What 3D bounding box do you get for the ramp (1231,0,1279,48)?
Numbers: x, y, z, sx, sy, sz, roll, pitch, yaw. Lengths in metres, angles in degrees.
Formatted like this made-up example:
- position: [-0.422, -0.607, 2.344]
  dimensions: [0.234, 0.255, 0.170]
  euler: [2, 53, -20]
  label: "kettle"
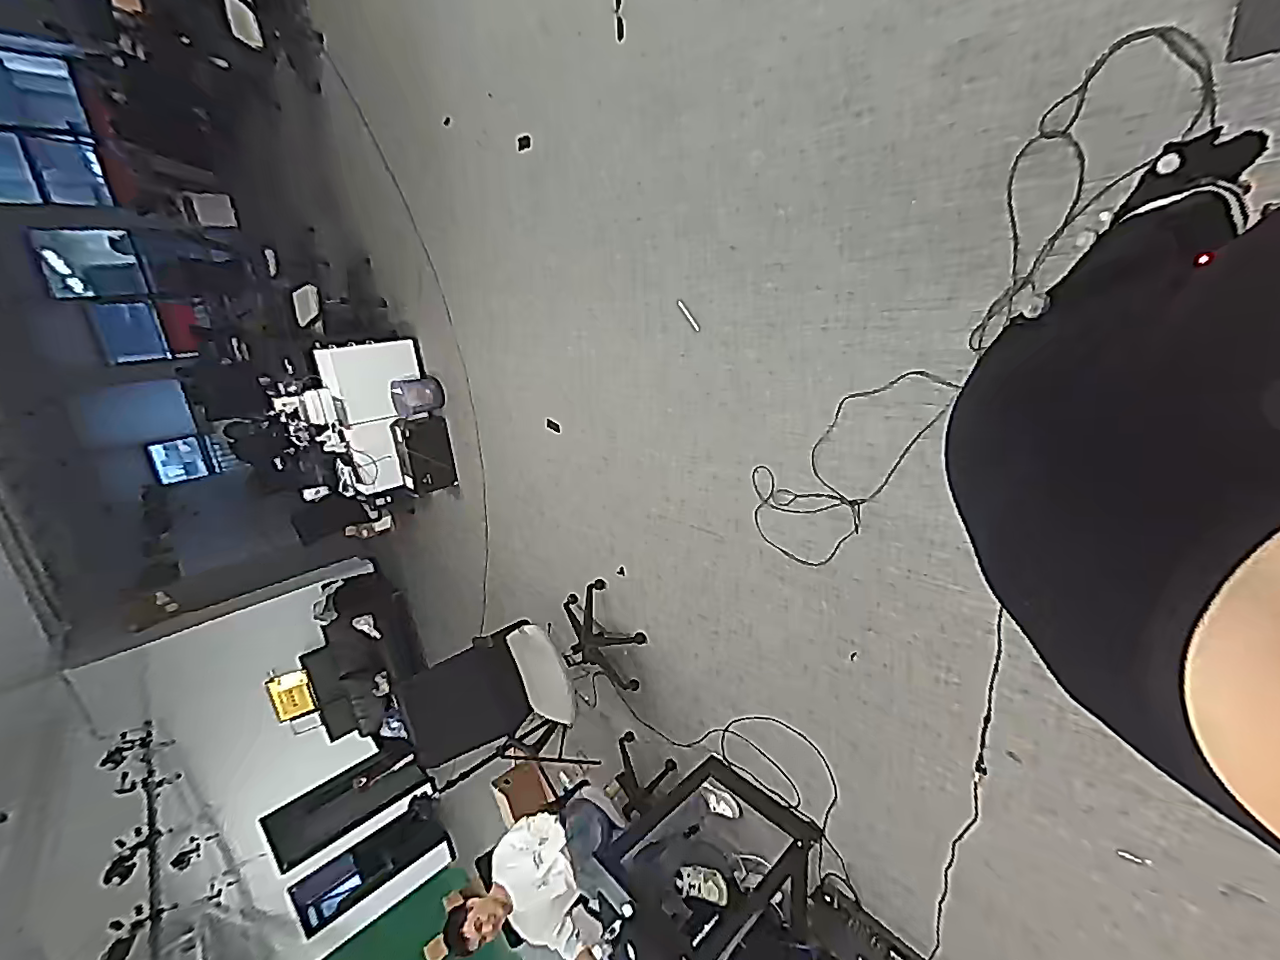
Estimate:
- position: [1.052, -1.123, 0.533]
  dimensions: [0.509, 0.206, 0.991]
  euler: [12, 115, 46]
  label: "ramp"
